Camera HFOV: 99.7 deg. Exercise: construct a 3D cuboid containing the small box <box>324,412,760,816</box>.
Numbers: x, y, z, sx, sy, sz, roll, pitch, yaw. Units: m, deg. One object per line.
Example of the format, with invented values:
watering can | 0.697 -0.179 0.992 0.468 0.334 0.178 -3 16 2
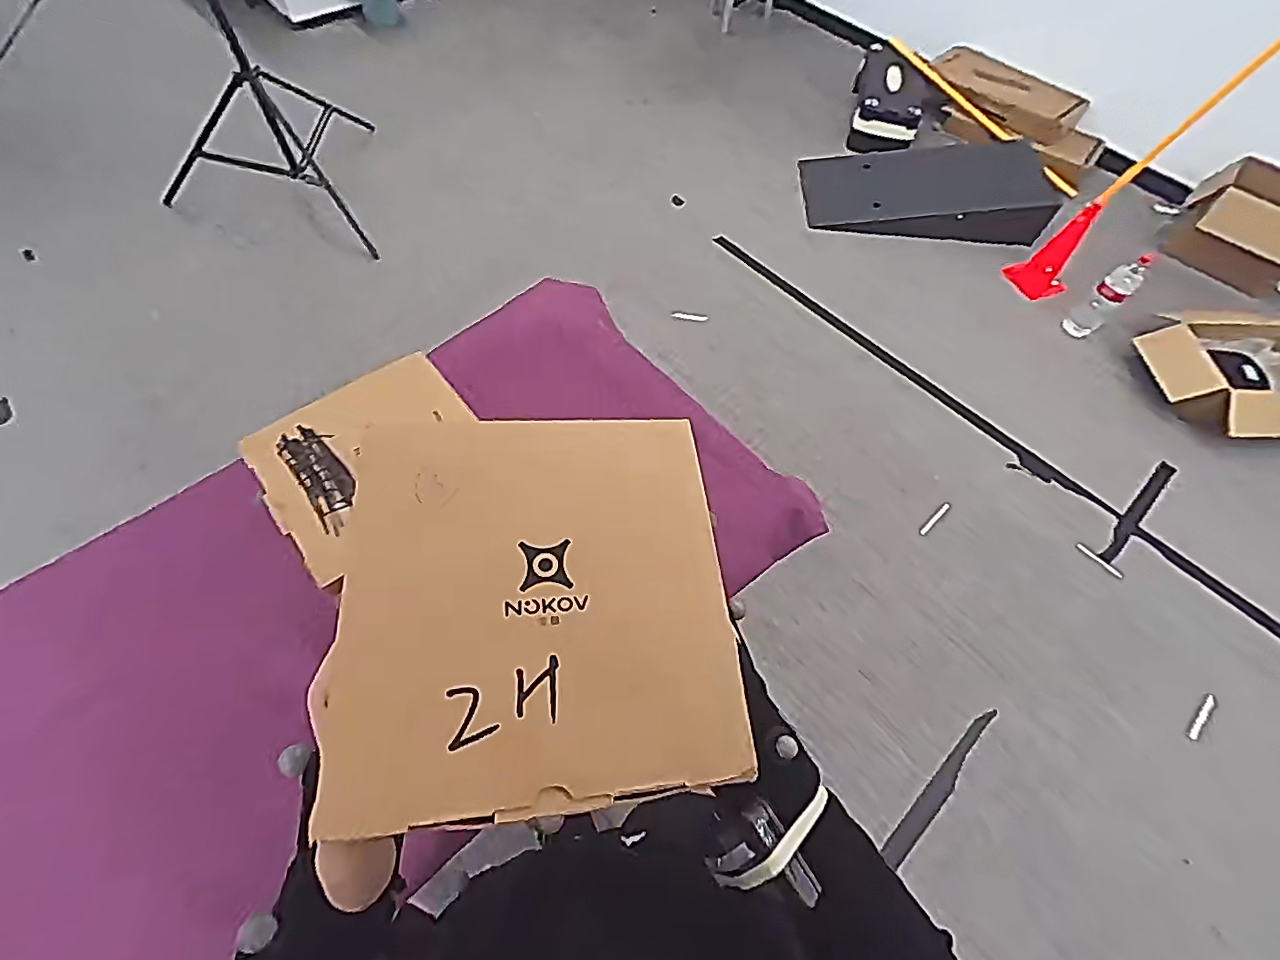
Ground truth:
small box | -0.052 0.079 0.311 0.168 0.176 0.179 -2 62 -11
